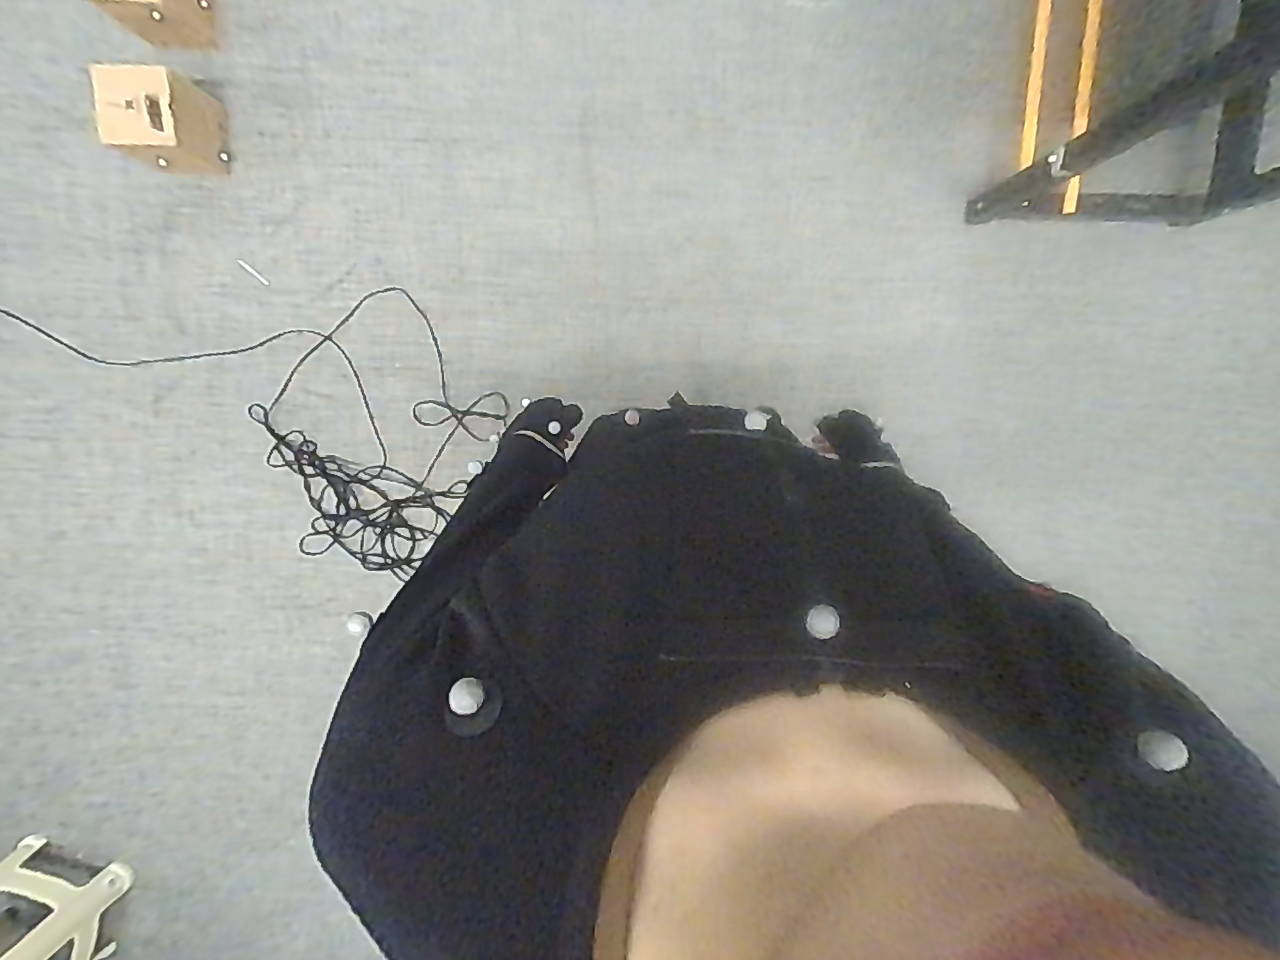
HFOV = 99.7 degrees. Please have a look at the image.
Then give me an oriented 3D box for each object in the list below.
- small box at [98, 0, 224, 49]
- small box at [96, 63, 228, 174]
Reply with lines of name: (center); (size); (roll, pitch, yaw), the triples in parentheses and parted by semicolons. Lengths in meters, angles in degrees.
small box: (-1.113, -1.139, 1.248); (0.179, 0.176, 0.168); (3, 98, 0)
small box: (-1.122, -0.852, 1.288); (0.179, 0.176, 0.168); (2, 98, 1)
